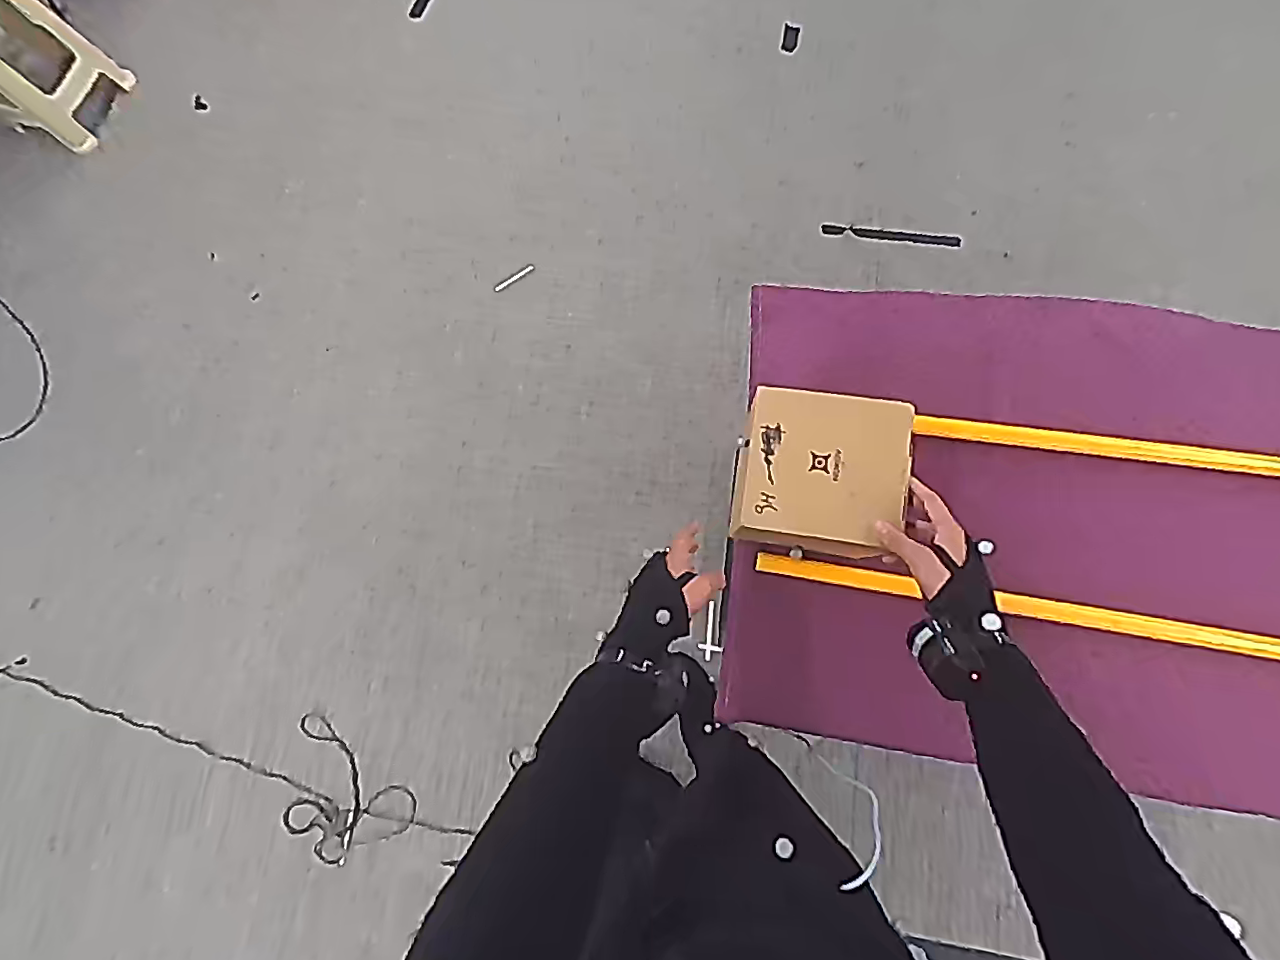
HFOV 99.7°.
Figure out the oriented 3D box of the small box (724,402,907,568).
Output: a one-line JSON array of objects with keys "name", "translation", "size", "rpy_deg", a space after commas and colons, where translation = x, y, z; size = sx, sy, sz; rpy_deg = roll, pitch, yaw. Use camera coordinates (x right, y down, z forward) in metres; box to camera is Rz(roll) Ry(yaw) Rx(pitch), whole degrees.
[{"name": "small box", "translation": [0.208, 0.015, 0.683], "size": [0.179, 0.176, 0.168], "rpy_deg": [9, 80, 6]}]
